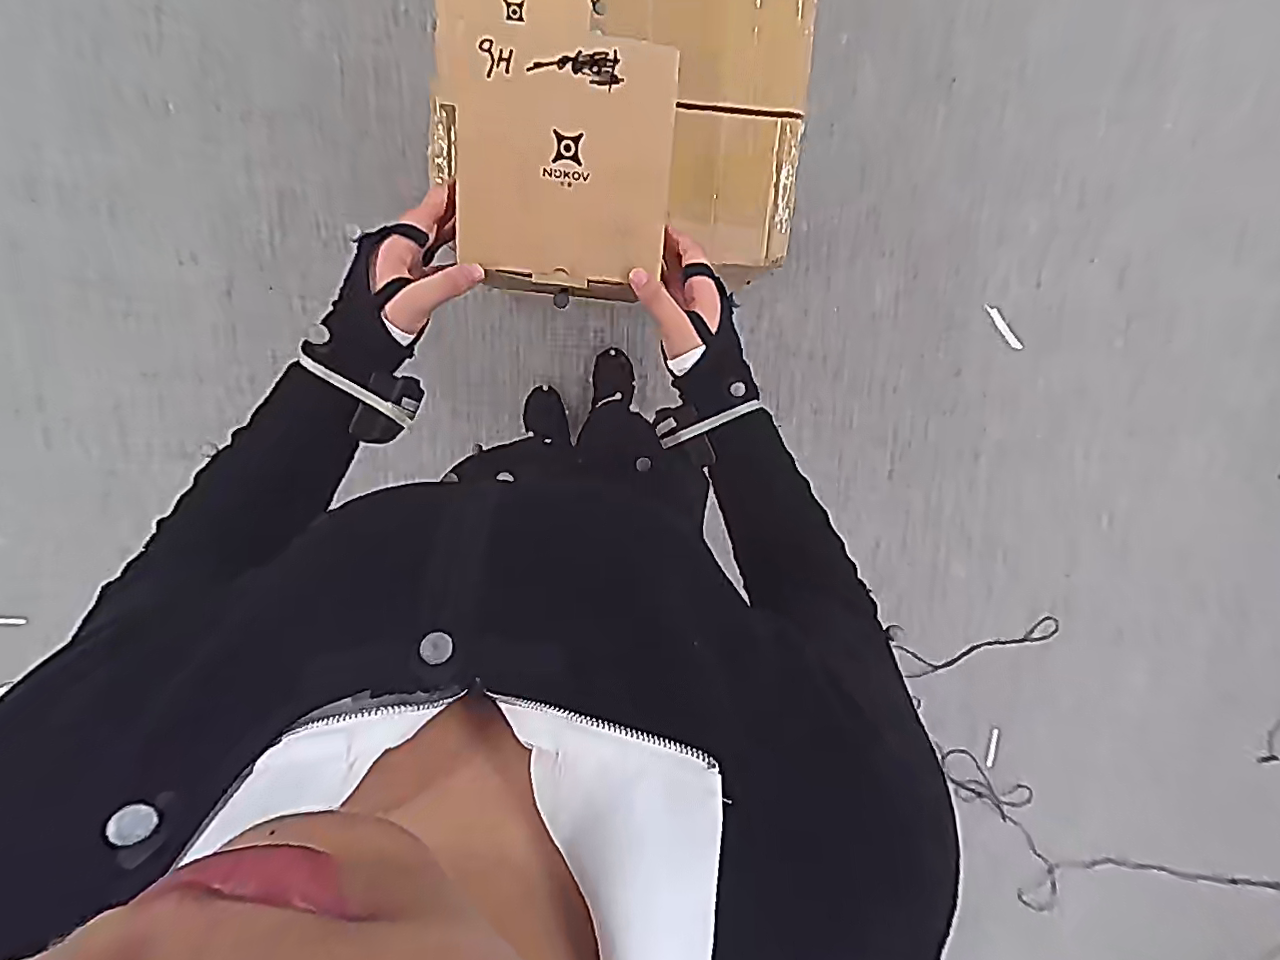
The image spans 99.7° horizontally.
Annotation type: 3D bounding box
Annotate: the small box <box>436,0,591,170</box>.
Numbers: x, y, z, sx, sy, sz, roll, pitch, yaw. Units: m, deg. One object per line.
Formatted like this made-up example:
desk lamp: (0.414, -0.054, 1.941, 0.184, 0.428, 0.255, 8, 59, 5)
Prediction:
small box: (-0.145, -0.511, 0.665, 0.168, 0.176, 0.179, 1, 103, -5)
